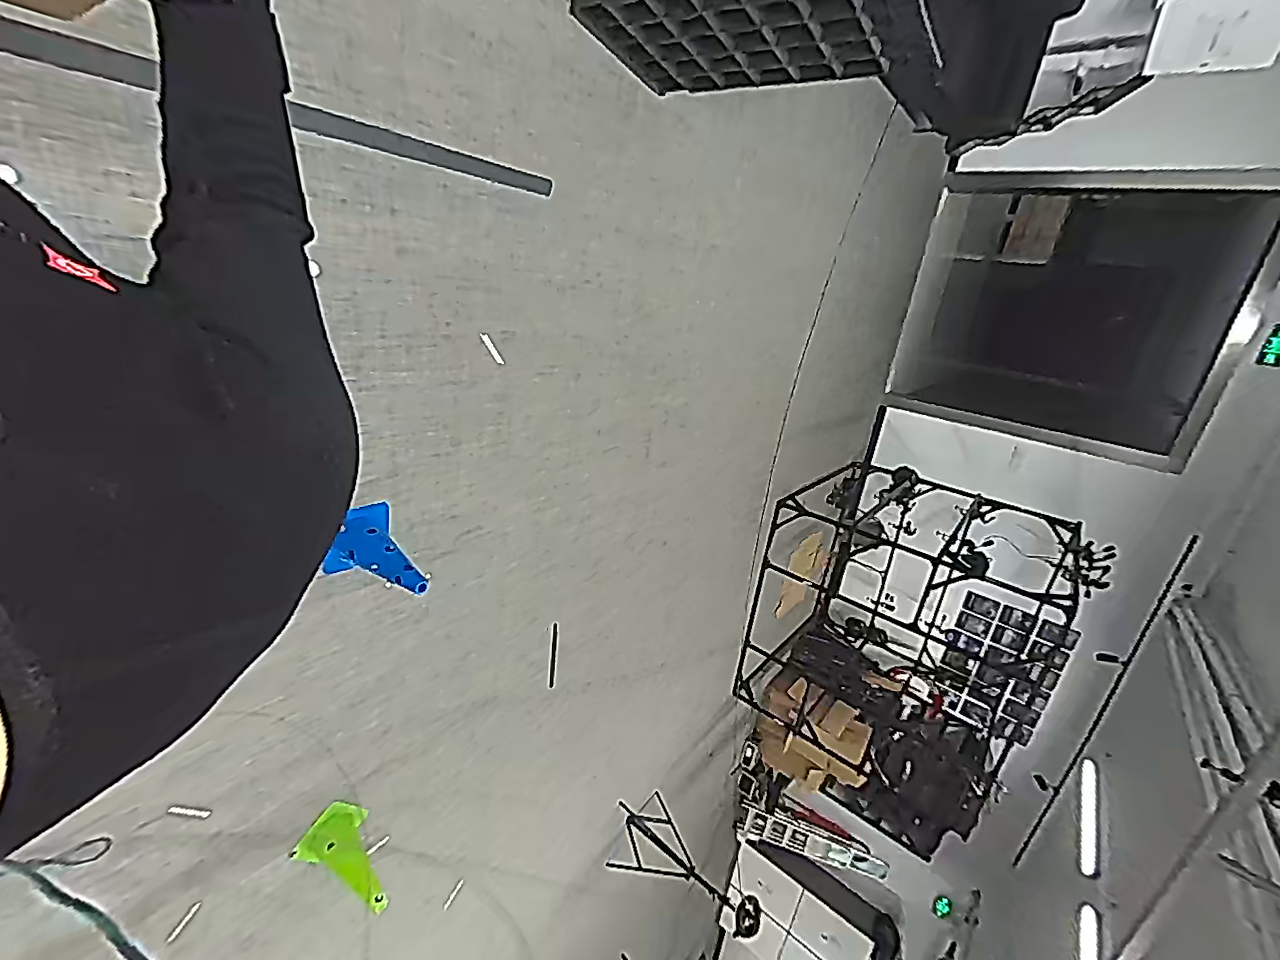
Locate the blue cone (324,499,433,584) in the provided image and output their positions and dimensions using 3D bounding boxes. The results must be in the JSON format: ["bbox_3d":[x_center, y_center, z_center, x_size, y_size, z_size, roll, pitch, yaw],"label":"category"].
[{"bbox_3d":[-0.727,0.209,1.546,0.192,0.380,0.193,-14,120,-52],"label":"blue cone"}]

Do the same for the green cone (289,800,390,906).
[{"bbox_3d":[-0.957,1.285,1.809,0.202,0.368,0.200,-53,145,-24],"label":"green cone"}]
